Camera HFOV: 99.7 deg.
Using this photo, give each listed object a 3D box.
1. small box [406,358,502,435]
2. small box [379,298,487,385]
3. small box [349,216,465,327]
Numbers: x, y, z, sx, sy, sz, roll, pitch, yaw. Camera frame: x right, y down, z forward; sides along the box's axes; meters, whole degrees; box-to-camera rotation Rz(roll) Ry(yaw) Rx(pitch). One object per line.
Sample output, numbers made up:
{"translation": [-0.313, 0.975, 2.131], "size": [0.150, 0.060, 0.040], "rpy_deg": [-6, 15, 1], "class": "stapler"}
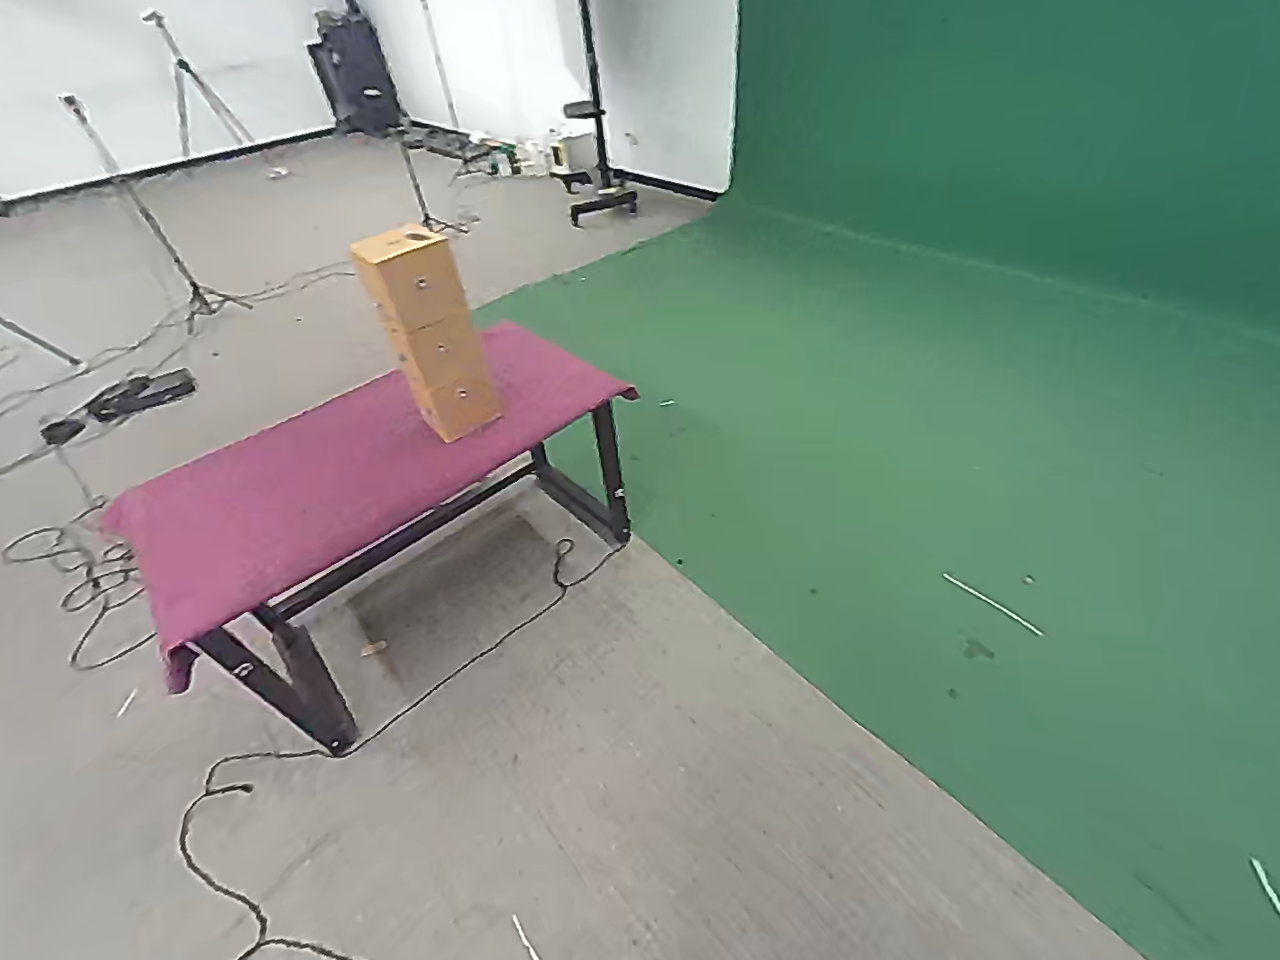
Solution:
{"translation": [-0.506, -0.251, 1.488], "size": [0.179, 0.176, 0.168], "rpy_deg": [-33, 51, -25], "class": "small box"}
{"translation": [-0.519, -0.368, 1.375], "size": [0.179, 0.176, 0.168], "rpy_deg": [-35, 52, -25], "class": "small box"}
{"translation": [-0.531, -0.487, 1.260], "size": [0.179, 0.176, 0.168], "rpy_deg": [-36, 52, -26], "class": "small box"}
